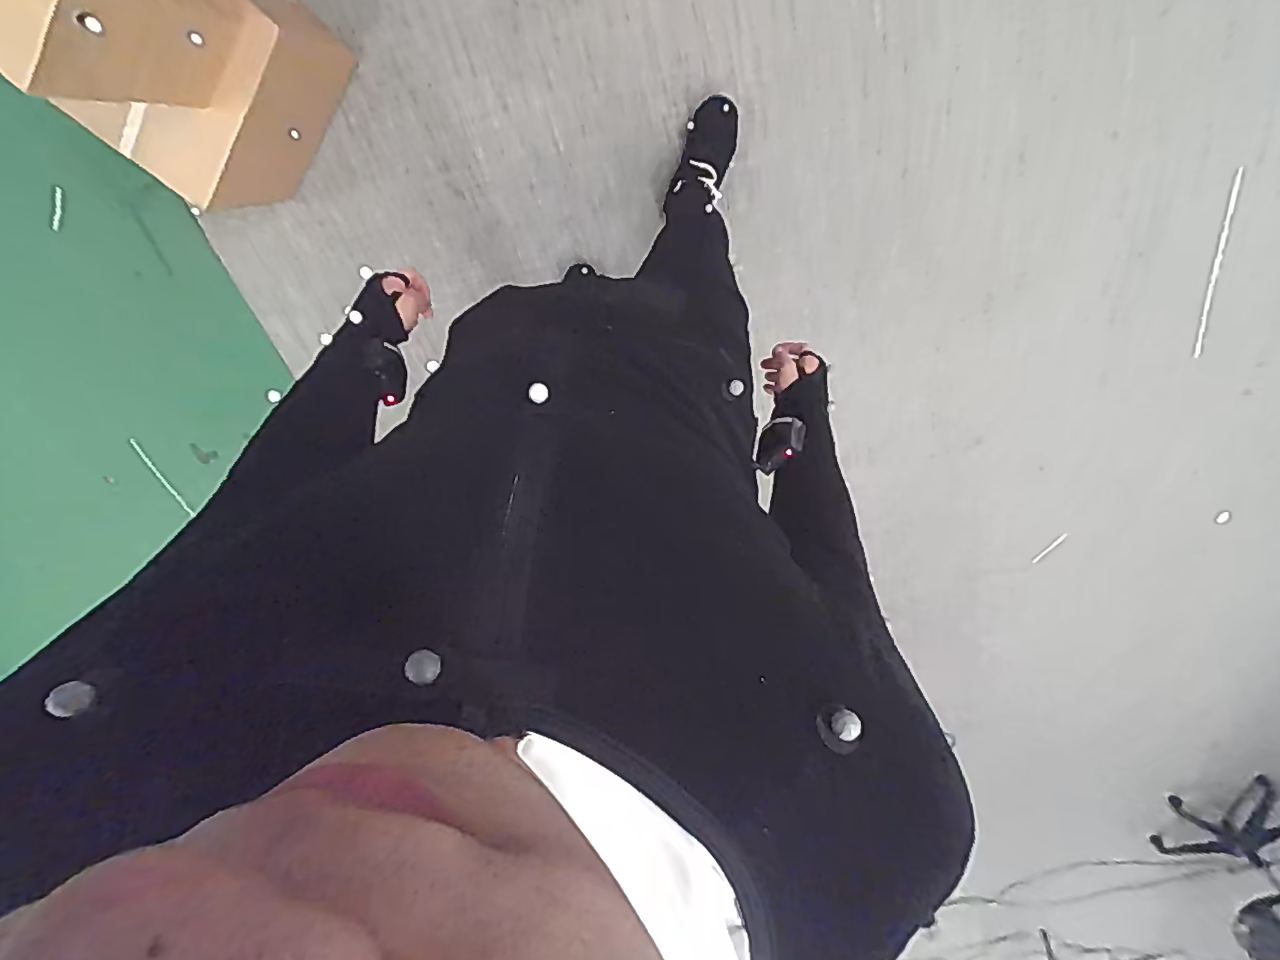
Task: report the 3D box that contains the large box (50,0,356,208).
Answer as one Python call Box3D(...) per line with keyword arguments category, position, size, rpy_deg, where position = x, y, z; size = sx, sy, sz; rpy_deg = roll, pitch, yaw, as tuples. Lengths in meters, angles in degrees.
Box3D(category="large box", position=(-0.871, -0.852, 1.112), size=(0.320, 0.320, 0.408), rpy_deg=(38, 117, -18))

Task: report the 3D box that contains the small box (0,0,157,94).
Box3D(category="small box", position=(-0.825, -0.672, 0.739), size=(0.179, 0.176, 0.168), rpy_deg=(-39, 113, 23))
